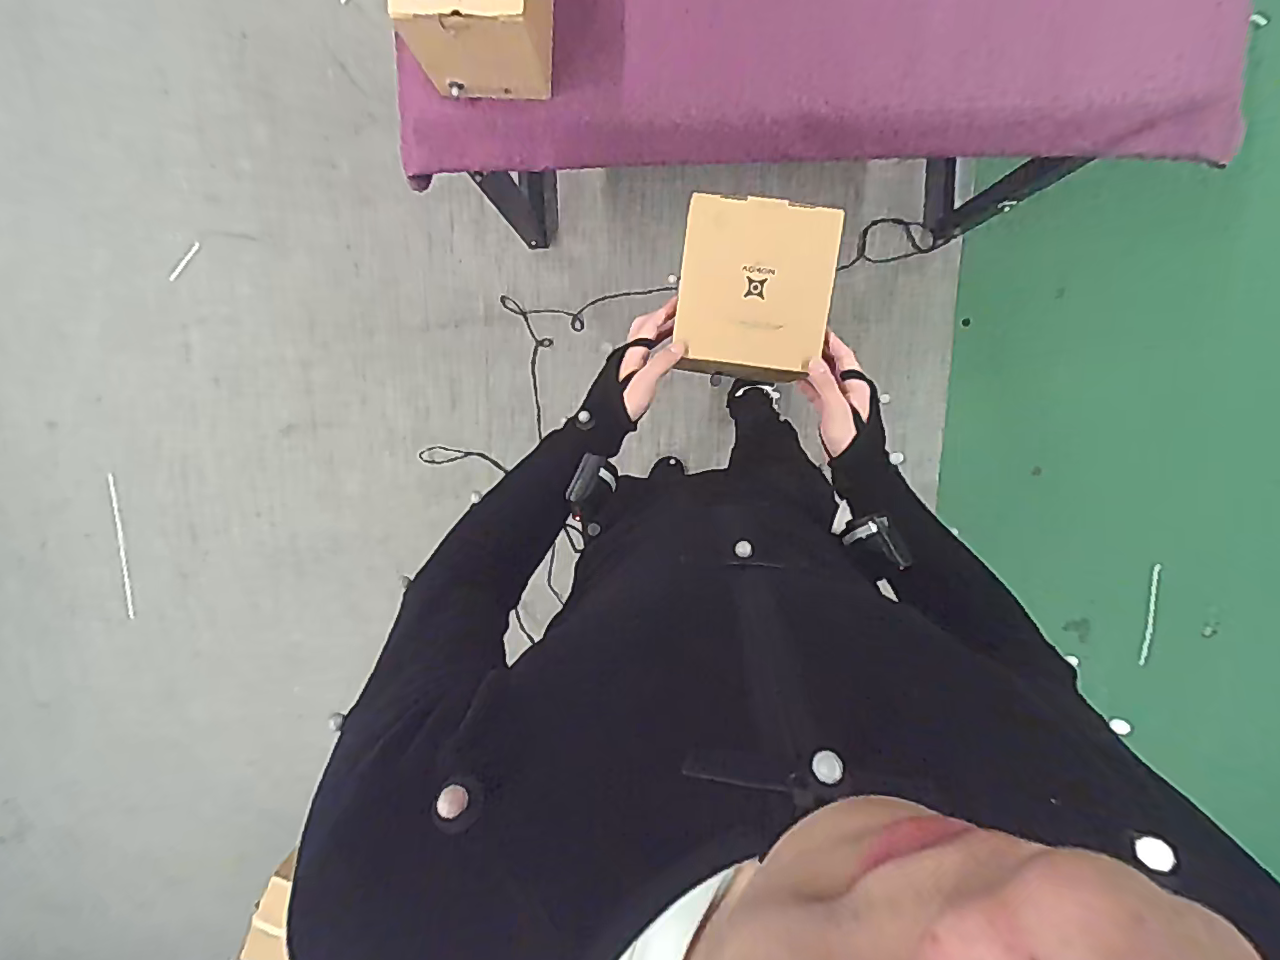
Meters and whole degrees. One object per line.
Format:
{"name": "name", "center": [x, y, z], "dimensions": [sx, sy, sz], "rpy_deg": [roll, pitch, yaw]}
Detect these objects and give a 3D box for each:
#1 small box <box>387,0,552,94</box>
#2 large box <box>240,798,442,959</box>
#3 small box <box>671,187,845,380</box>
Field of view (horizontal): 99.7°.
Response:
{"name": "small box", "center": [-0.210, -0.639, 0.703], "dimensions": [0.168, 0.176, 0.179], "rpy_deg": [3, 97, 1]}
{"name": "large box", "center": [-0.906, 1.284, 1.680], "dimensions": [0.408, 0.320, 0.320], "rpy_deg": [24, 99, -3]}
{"name": "small box", "center": [0.129, -0.225, 0.662], "dimensions": [0.168, 0.176, 0.179], "rpy_deg": [8, 97, 1]}
